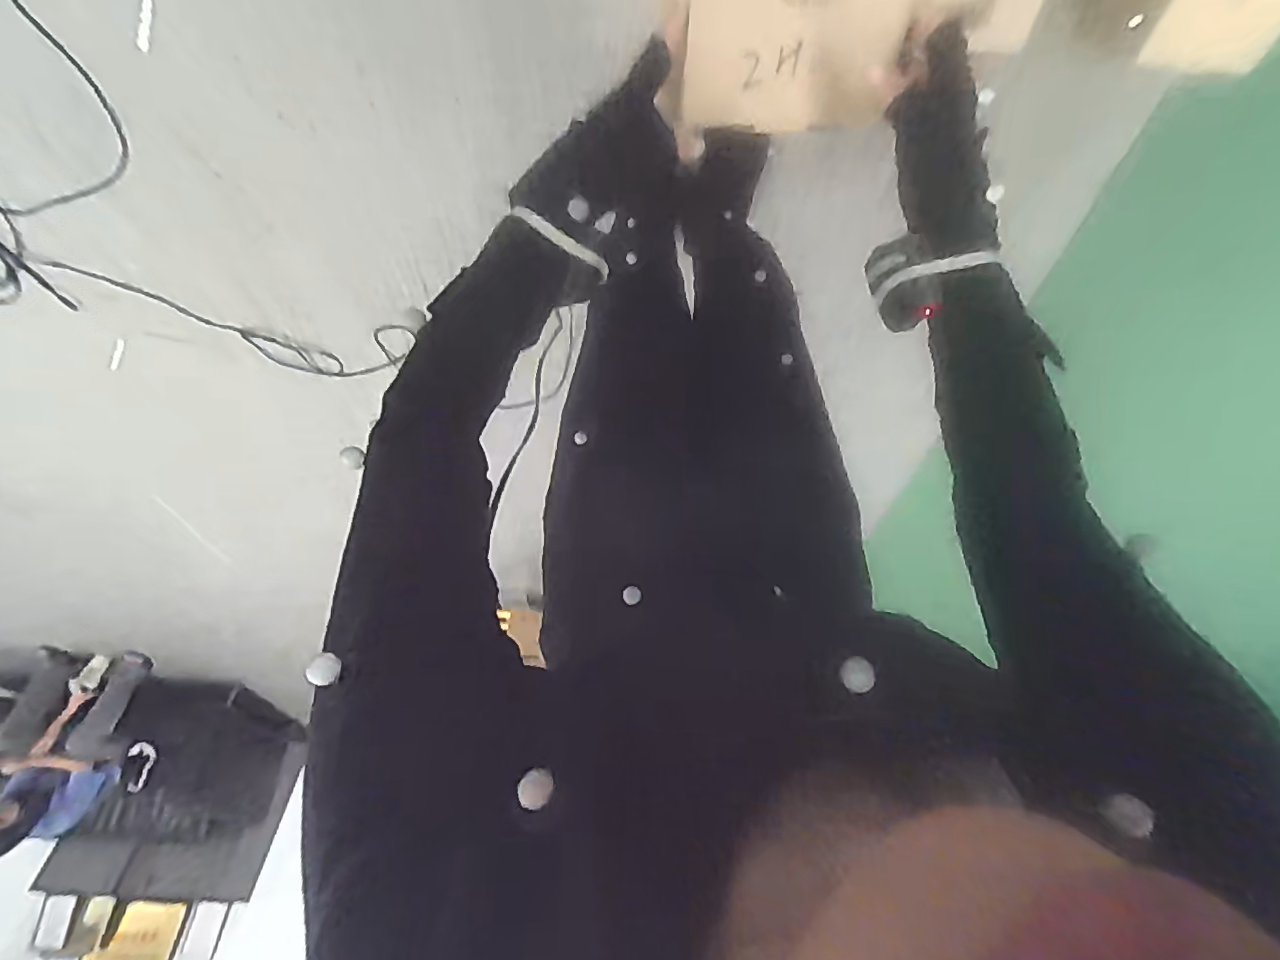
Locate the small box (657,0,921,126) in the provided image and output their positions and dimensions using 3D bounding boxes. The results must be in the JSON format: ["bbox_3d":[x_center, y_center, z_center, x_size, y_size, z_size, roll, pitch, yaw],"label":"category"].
[{"bbox_3d":[0.109,-0.398,0.430,0.168,0.176,0.179,-3,131,-7],"label":"small box"}]

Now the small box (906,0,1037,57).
[{"bbox_3d":[0.431,-0.698,0.724,0.168,0.176,0.179,0,140,3],"label":"small box"}]

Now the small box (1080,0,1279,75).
[{"bbox_3d":[0.754,-0.680,0.728,0.168,0.176,0.179,5,141,-1],"label":"small box"}]
